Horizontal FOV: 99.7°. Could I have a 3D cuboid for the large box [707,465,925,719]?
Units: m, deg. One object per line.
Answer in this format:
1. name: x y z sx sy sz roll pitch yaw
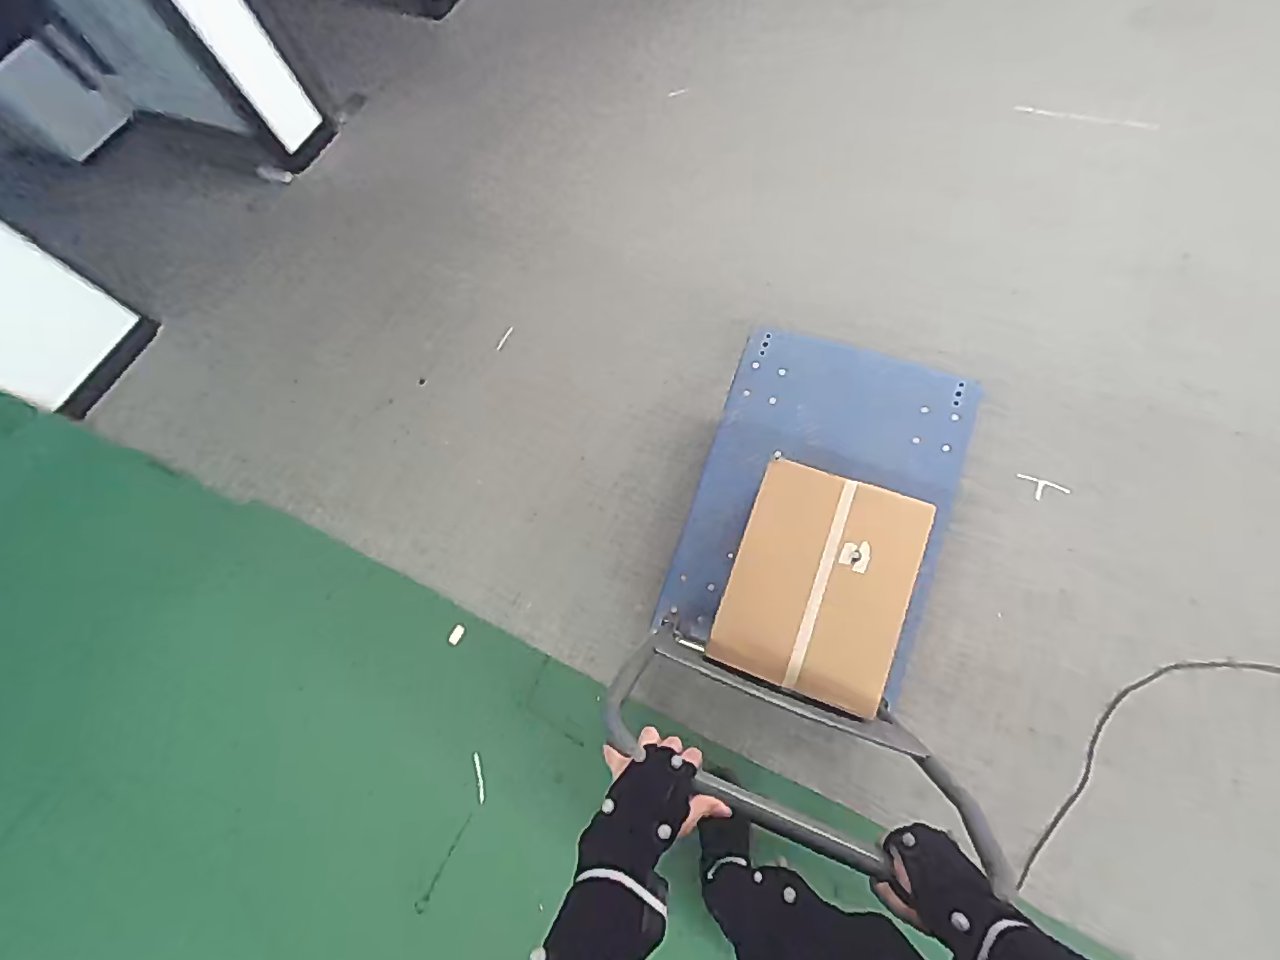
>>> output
1. large box: 0.355 0.231 1.159 0.320 0.320 0.408 18 81 13
